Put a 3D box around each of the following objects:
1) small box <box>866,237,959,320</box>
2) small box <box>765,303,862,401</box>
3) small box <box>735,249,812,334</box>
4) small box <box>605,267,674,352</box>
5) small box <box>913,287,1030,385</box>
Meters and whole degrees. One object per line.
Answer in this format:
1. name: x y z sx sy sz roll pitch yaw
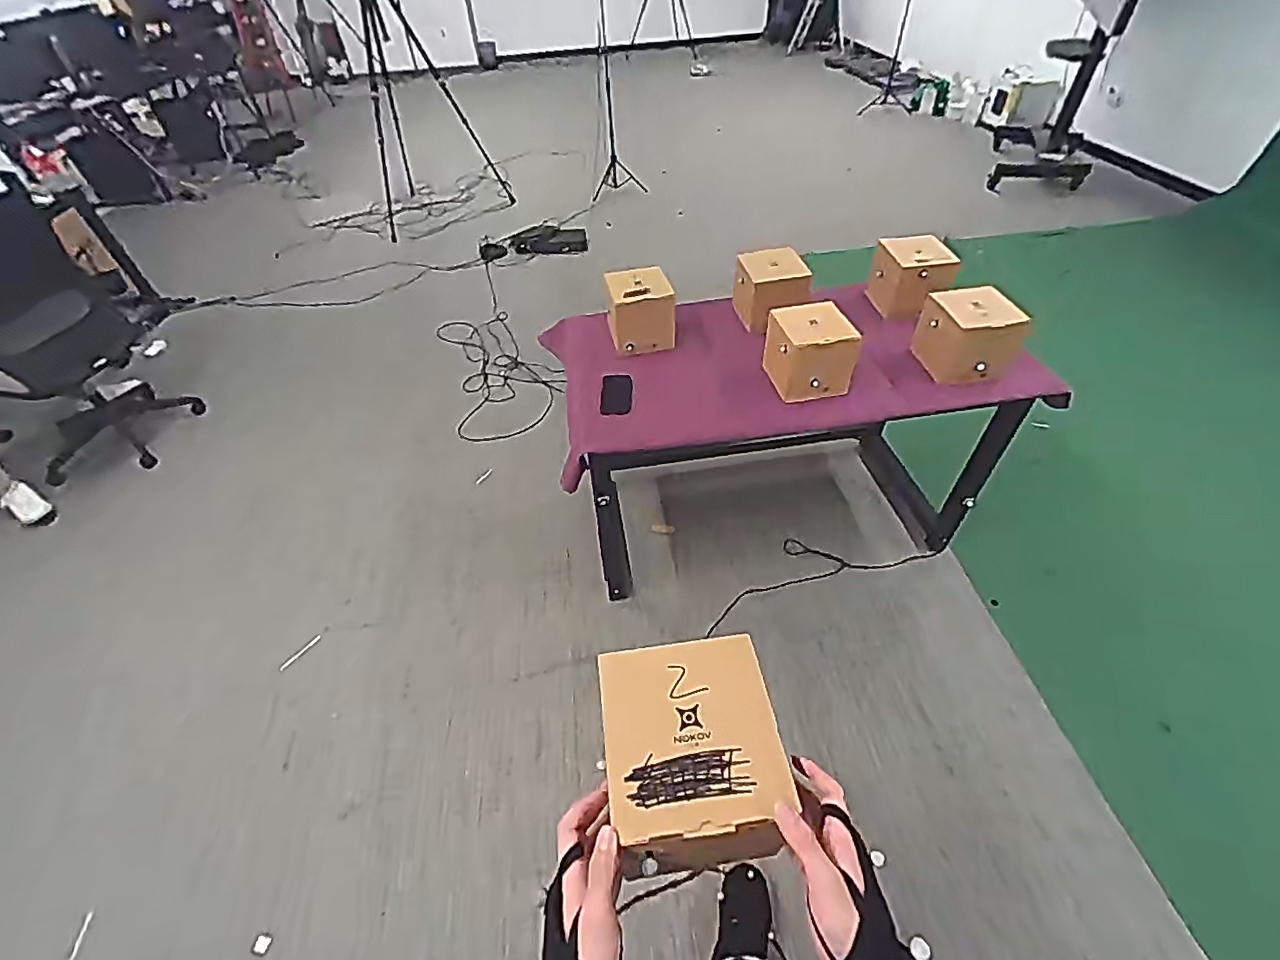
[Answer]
1. small box: 0.788 -0.591 1.586 0.168 0.176 0.179 -7 47 -1
2. small box: 0.424 -0.321 1.360 0.168 0.176 0.179 -9 47 -5
3. small box: 0.379 -0.549 1.577 0.168 0.176 0.179 -9 48 -3
4. small box: 0.000 -0.476 1.531 0.168 0.176 0.179 -10 47 -7
5. small box: 0.822 -0.364 1.367 0.168 0.176 0.179 -7 47 -1
